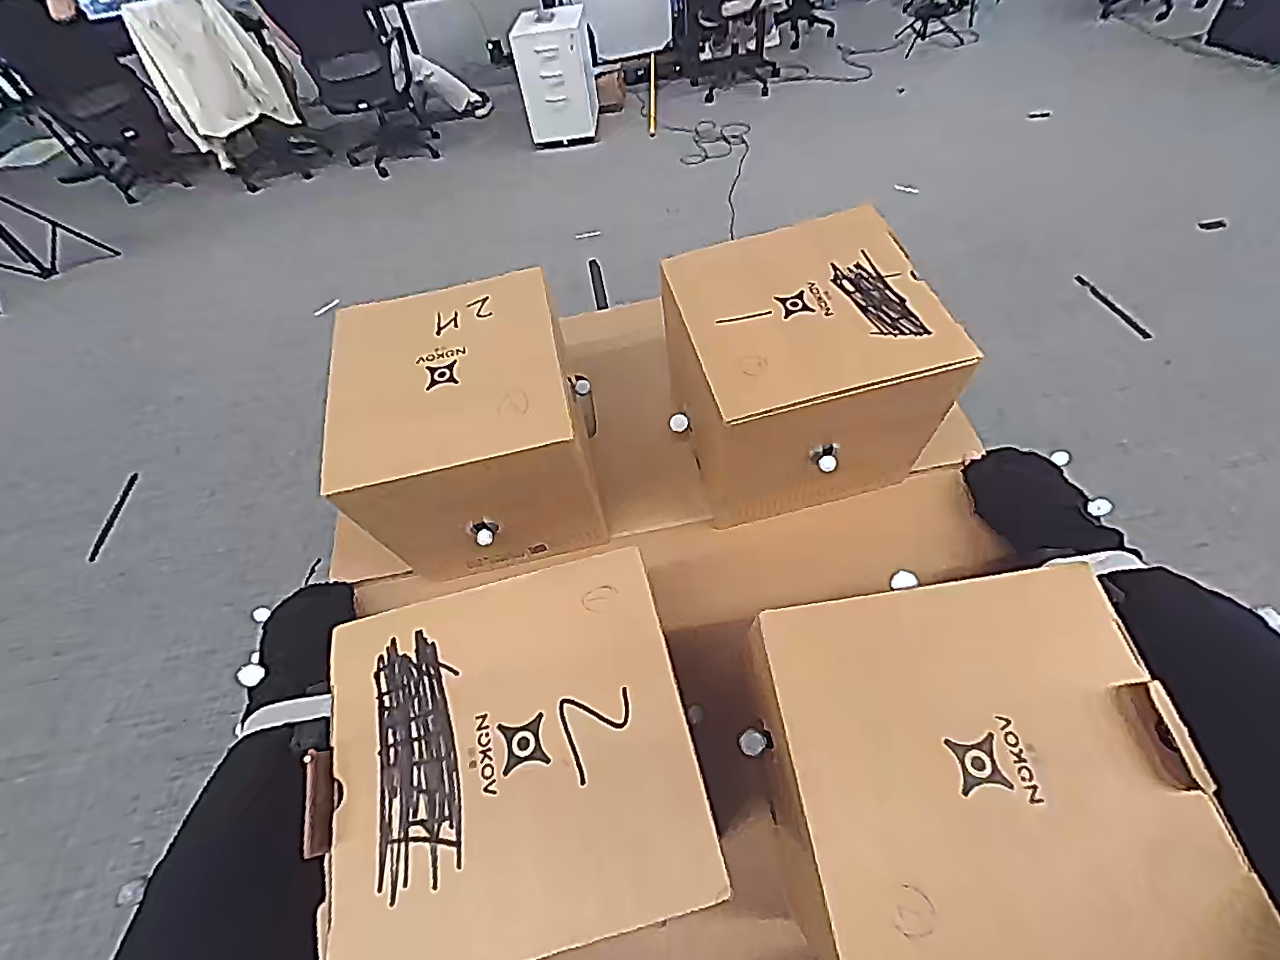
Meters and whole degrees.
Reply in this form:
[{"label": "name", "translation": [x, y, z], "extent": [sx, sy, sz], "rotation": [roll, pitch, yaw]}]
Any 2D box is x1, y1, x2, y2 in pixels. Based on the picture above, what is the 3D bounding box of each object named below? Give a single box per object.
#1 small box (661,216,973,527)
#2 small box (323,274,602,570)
[{"label": "small box", "translation": [0.123, -0.080, 0.454], "extent": [0.179, 0.176, 0.168], "rotation": [-14, 60, -1]}, {"label": "small box", "translation": [-0.133, -0.036, 0.458], "extent": [0.168, 0.176, 0.179], "rotation": [-12, 60, -1]}]
